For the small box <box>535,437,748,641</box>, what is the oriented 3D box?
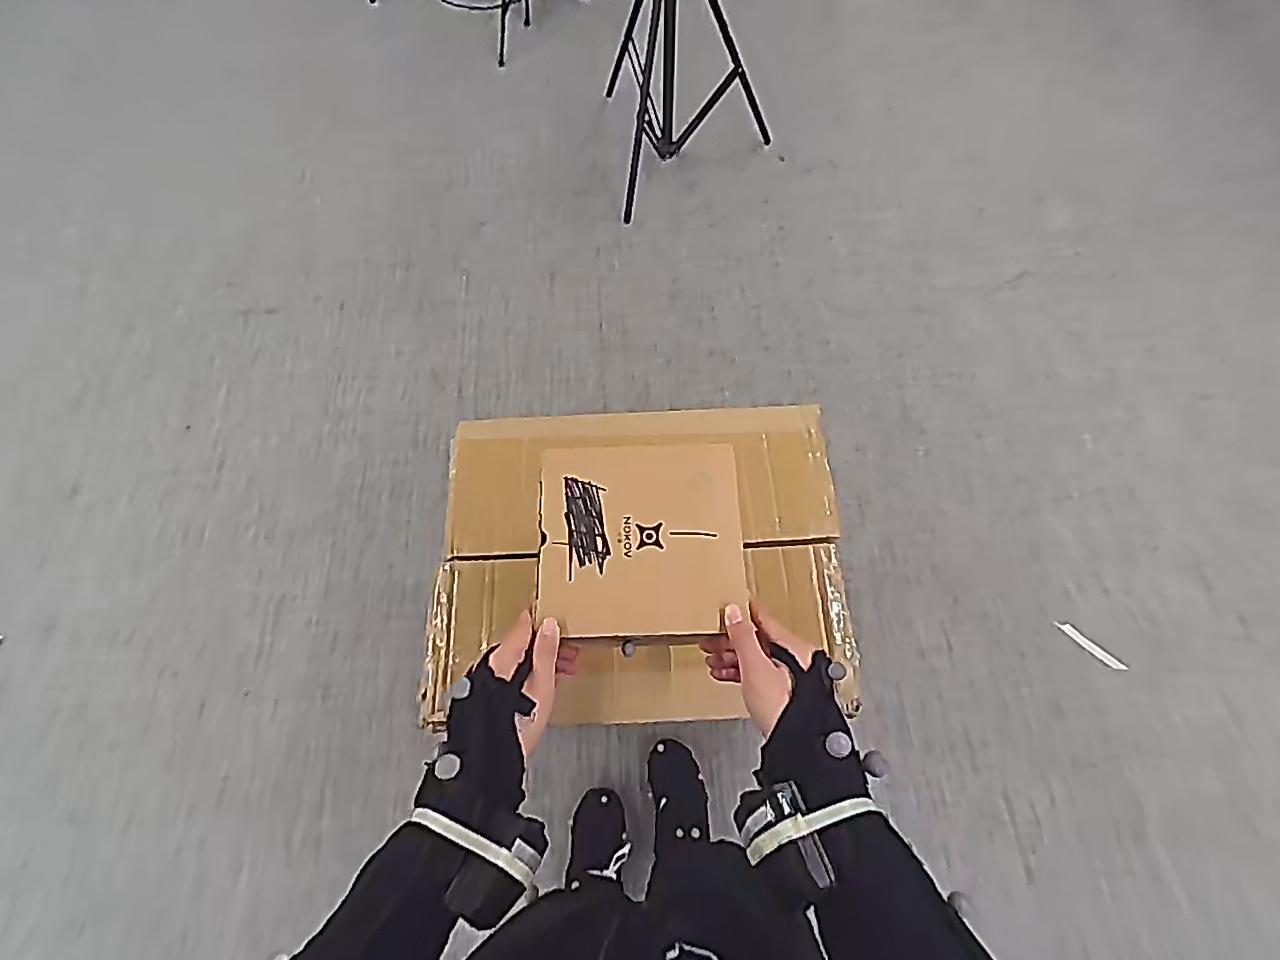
[{"bbox_3d":[0.002,0.068,0.537,0.179,0.176,0.168,-2,70,0],"label":"small box"}]
